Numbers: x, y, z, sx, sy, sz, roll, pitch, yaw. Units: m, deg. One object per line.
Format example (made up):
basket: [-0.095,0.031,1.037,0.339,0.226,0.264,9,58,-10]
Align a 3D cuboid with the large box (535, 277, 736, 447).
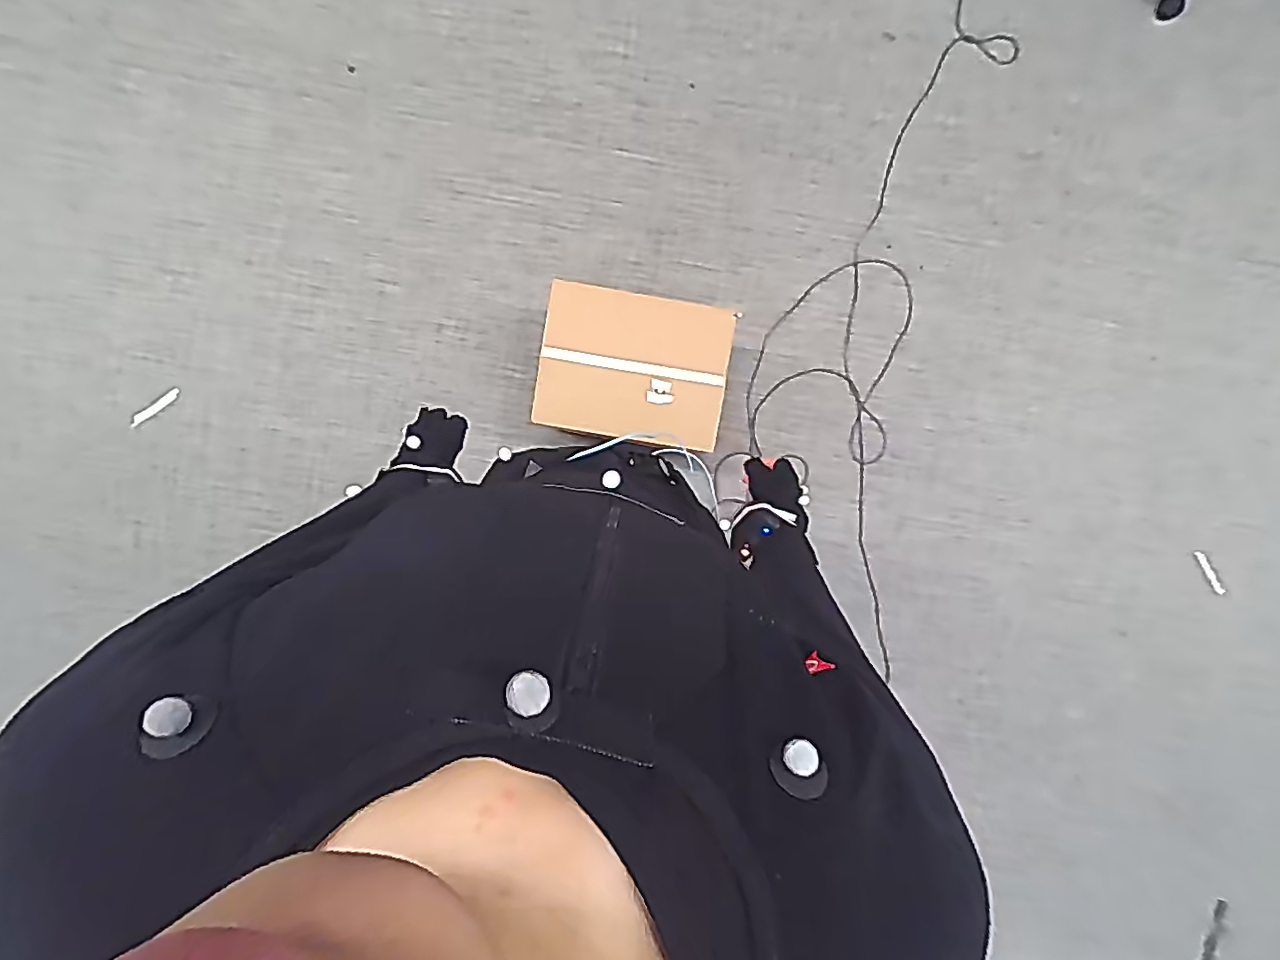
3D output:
large box: [-0.016,-0.264,1.321,0.408,0.320,0.320,10,93,-2]
